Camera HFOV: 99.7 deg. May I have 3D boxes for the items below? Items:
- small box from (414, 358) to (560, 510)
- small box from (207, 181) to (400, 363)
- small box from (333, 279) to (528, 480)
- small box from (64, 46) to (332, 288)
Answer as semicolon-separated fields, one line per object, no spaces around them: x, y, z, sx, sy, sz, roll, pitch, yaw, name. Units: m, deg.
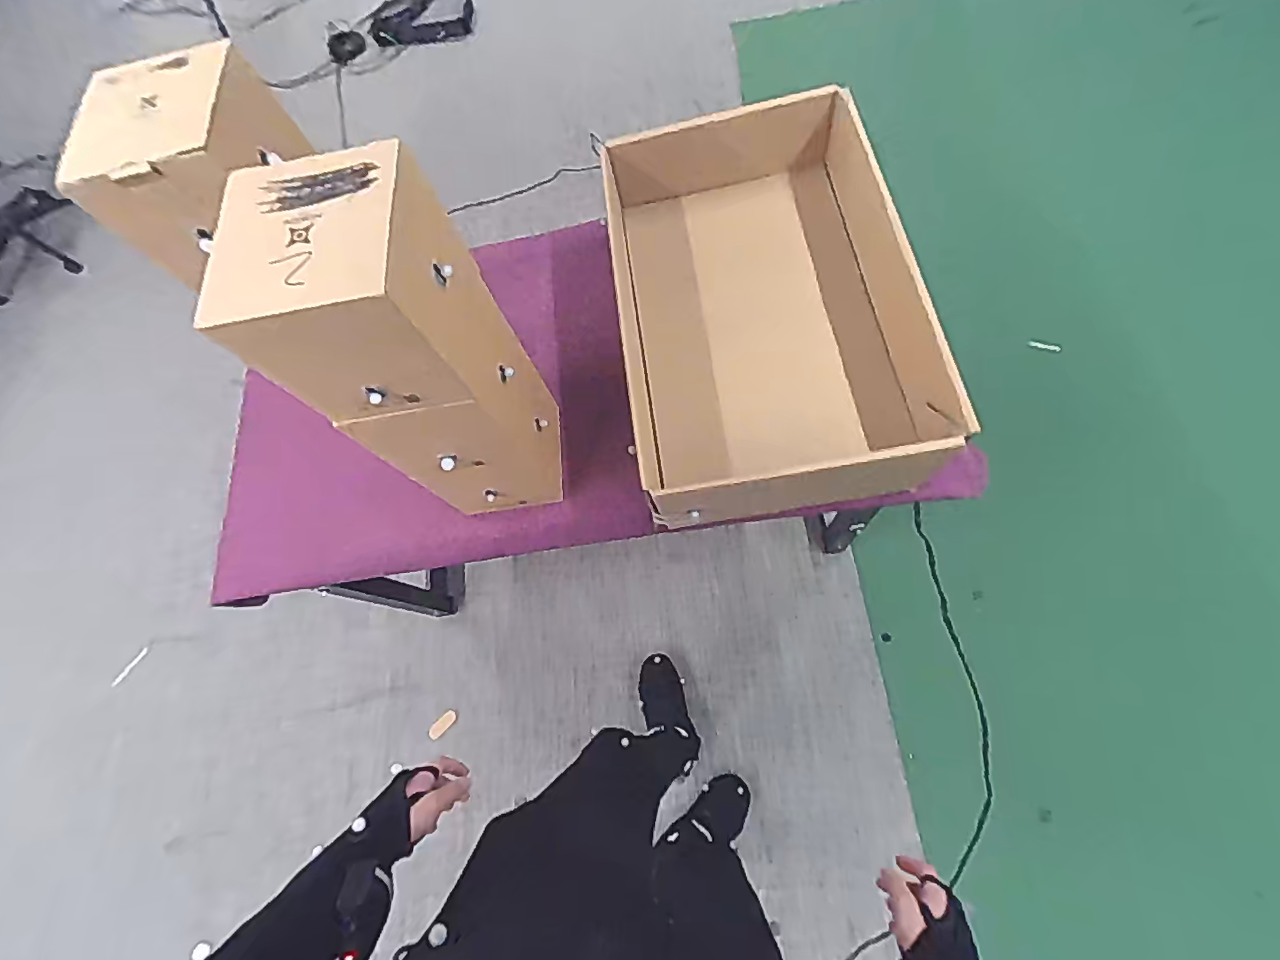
-0.224;-0.059;0.832;0.168;0.176;0.179;-8;68;5;small box
-0.471;-0.287;0.785;0.168;0.176;0.179;-9;68;5;small box
-0.247;-0.117;0.680;0.168;0.176;0.179;-8;69;6;small box
-0.494;-0.348;0.635;0.168;0.176;0.179;-9;69;4;small box
